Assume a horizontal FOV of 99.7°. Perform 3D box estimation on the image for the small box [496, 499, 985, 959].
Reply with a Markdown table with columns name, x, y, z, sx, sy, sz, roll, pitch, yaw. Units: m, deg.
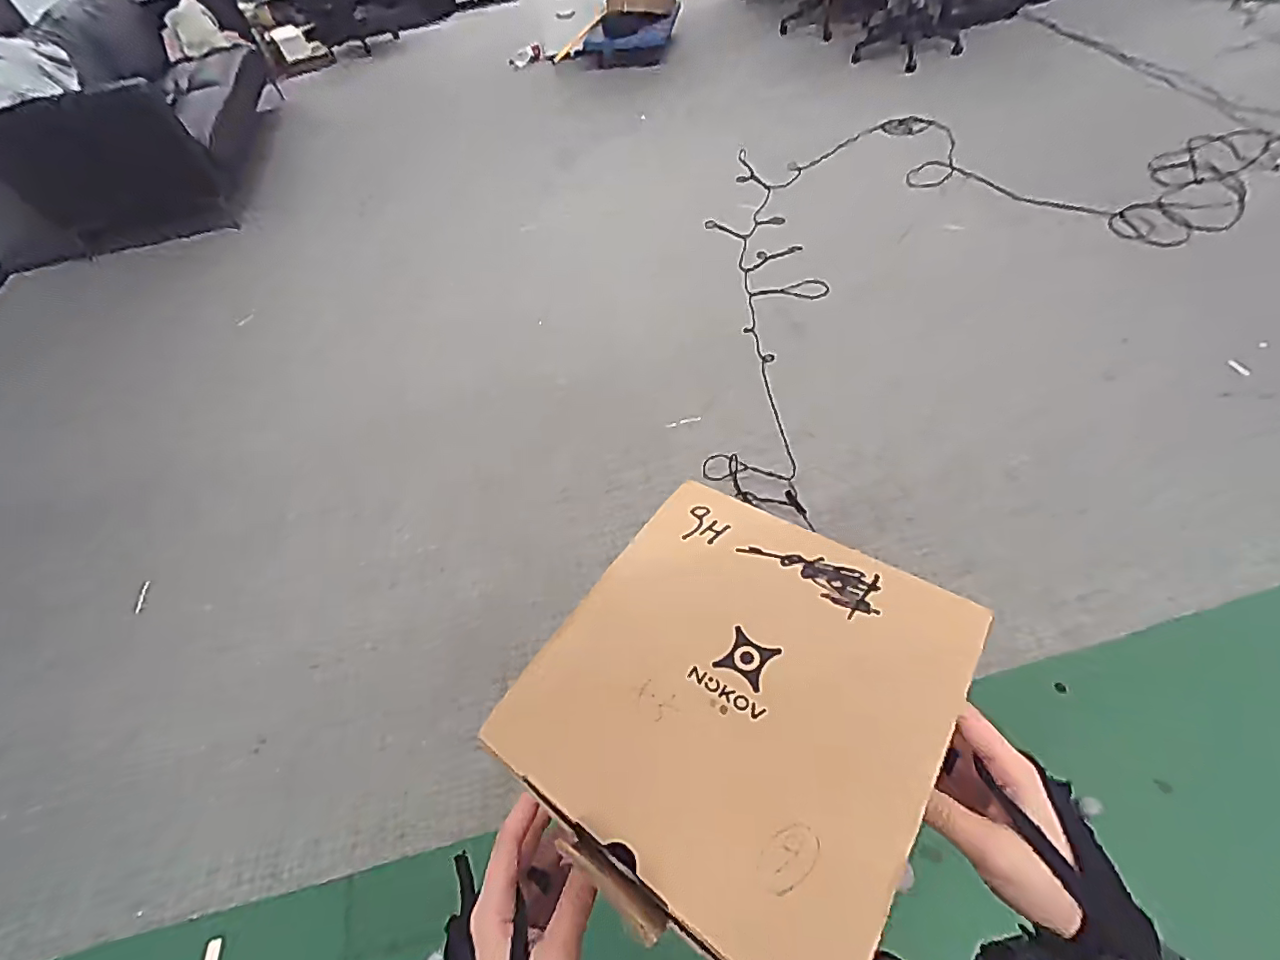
| name | x | y | z | sx | sy | sz | roll | pitch | yaw |
| --- | --- | --- | --- | --- | --- | --- | --- | --- | --- |
| small box | 0.058 | 0.149 | 0.307 | 0.168 | 0.176 | 0.179 | 25 | 57 | 29 |
